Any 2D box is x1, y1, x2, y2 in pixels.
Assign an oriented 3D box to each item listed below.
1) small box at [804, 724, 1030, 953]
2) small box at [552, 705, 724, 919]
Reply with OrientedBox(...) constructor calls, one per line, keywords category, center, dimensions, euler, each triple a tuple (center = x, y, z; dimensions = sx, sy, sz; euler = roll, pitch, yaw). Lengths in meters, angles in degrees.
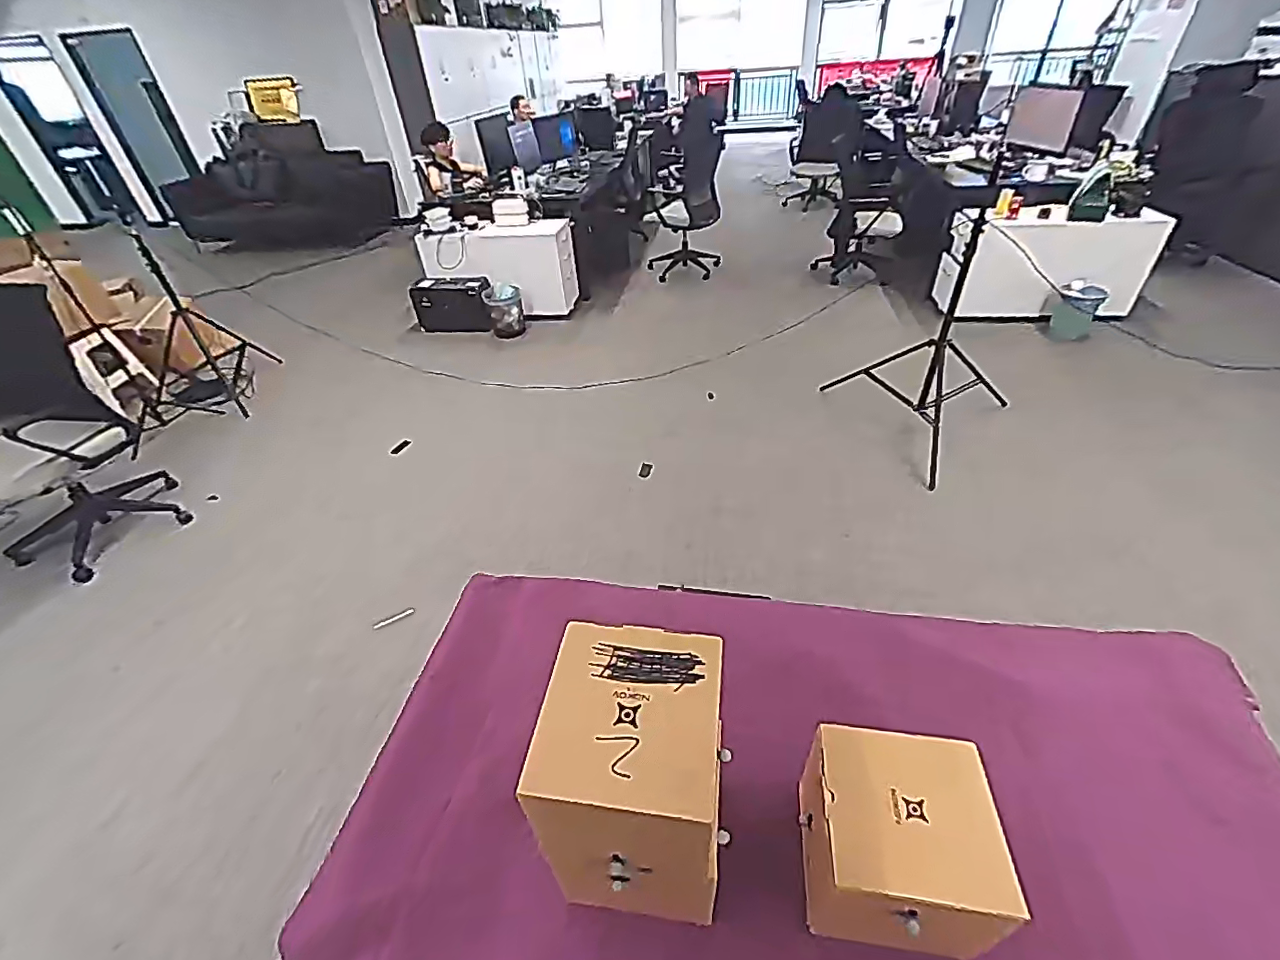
OrientedBox(category="small box", center=(0.293, 0.409, 0.620), dimensions=(0.179, 0.176, 0.168), euler=(2, 39, 10))
OrientedBox(category="small box", center=(0.009, 0.400, 0.656), dimensions=(0.179, 0.176, 0.168), euler=(3, 39, 8))
